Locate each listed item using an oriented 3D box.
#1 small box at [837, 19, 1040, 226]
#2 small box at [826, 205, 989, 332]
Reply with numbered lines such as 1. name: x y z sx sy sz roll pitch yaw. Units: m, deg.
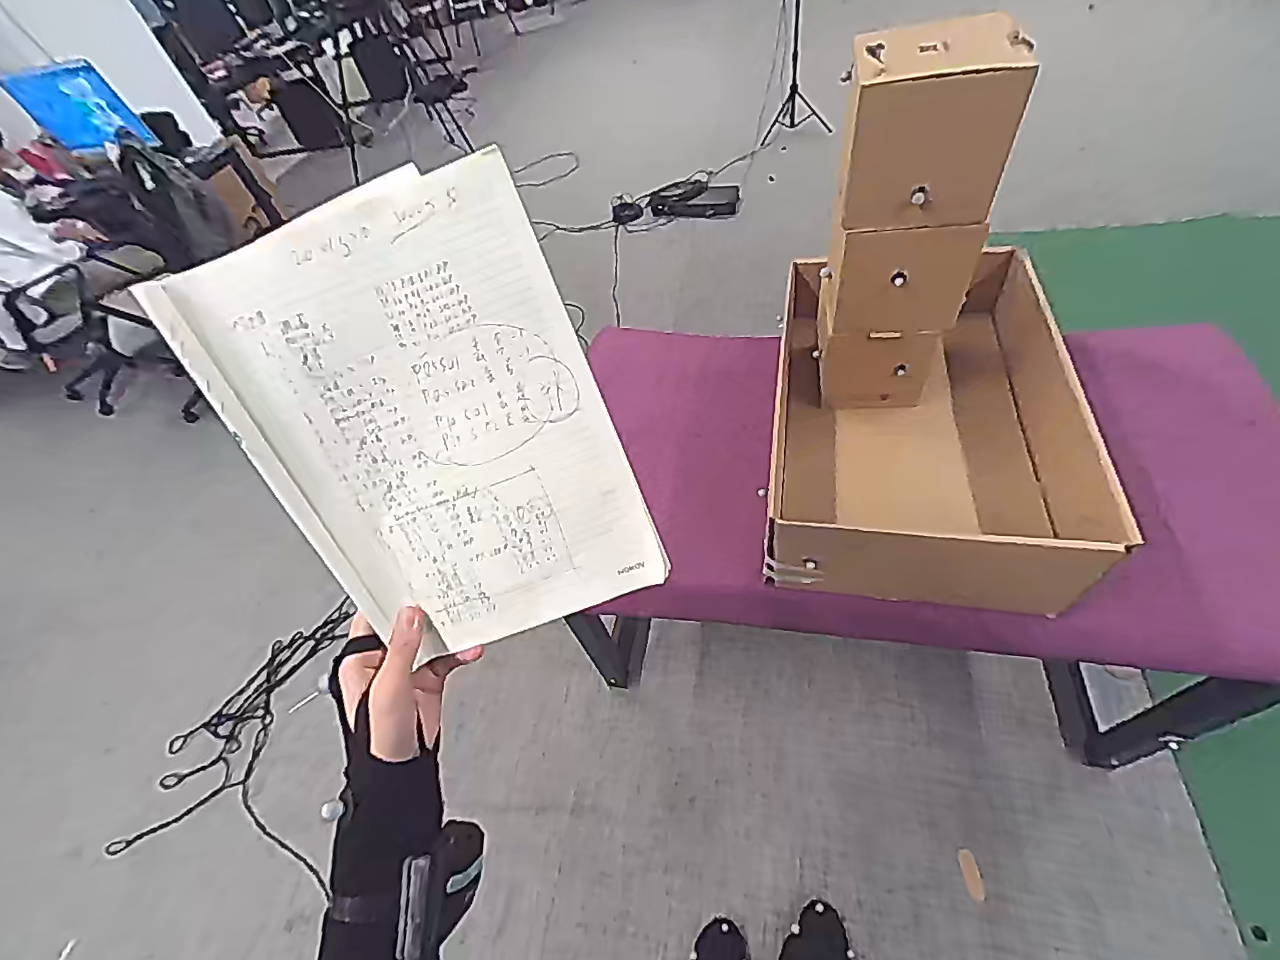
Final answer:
1. small box: 0.354 -0.441 0.681 0.179 0.176 0.168 4 54 13
2. small box: 0.382 -0.339 0.807 0.179 0.176 0.168 1 53 13
